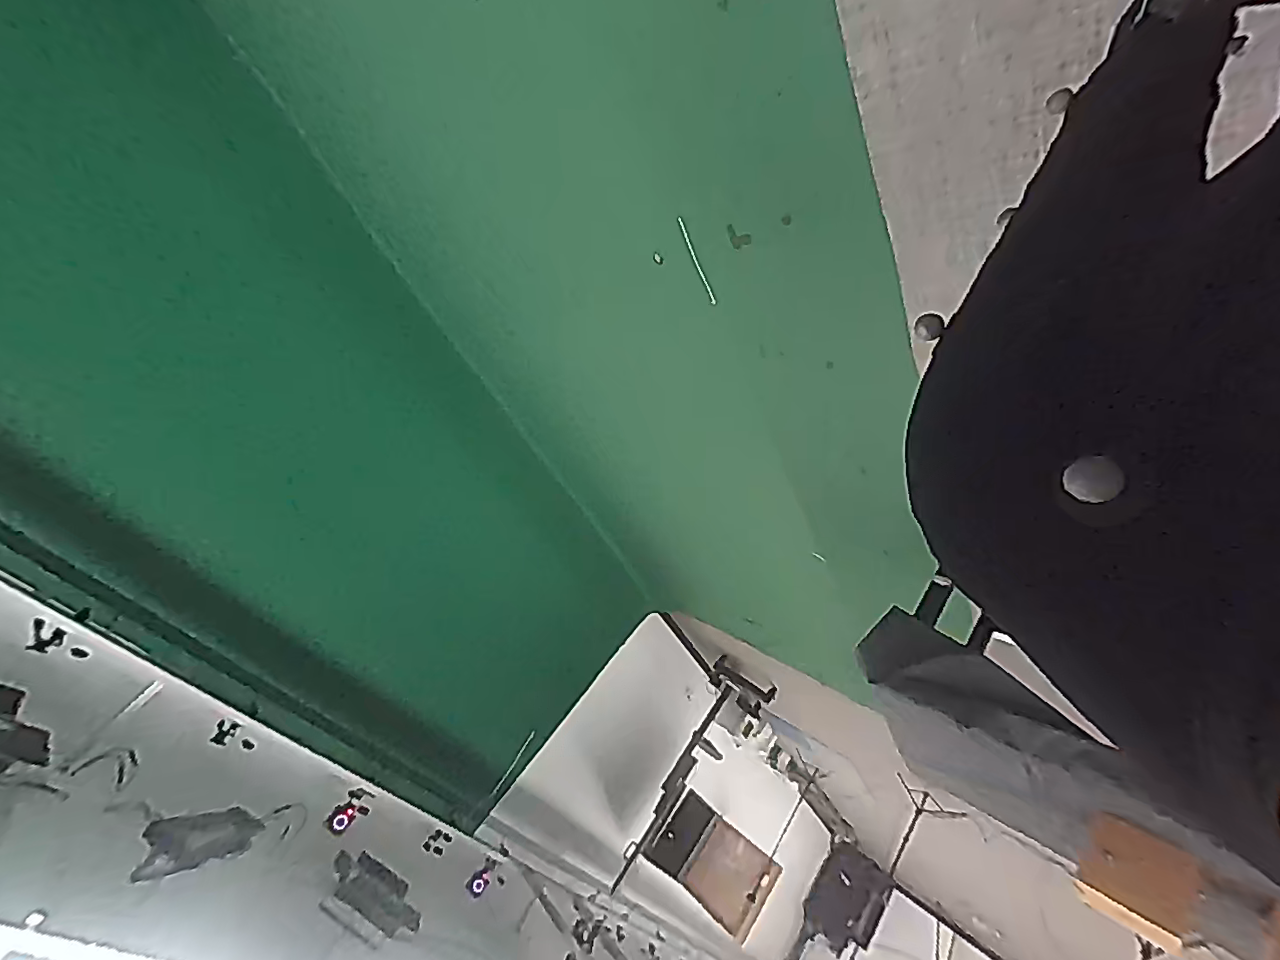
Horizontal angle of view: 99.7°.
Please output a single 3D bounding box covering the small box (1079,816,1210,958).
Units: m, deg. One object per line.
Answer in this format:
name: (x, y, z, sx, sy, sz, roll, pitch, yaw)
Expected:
small box: (1.092, 0.871, 1.177, 0.179, 0.176, 0.168, 13, 146, 49)
